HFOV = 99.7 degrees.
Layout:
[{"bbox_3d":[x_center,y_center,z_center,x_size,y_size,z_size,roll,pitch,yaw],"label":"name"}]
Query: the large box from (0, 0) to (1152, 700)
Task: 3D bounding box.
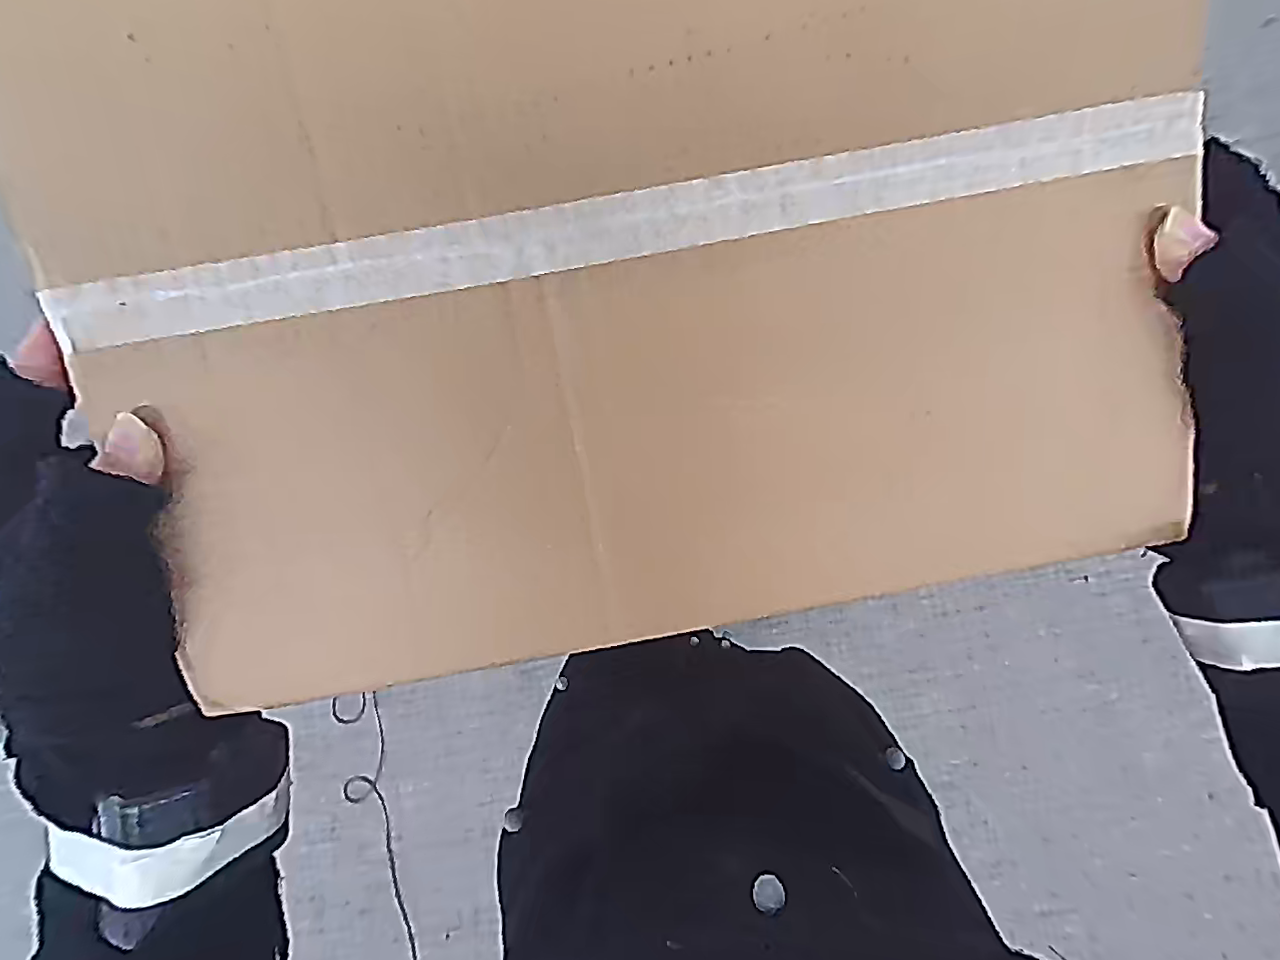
[{"bbox_3d":[-0.010,-0.119,0.349,0.408,0.320,0.320,-10,101,-1],"label":"large box"}]
